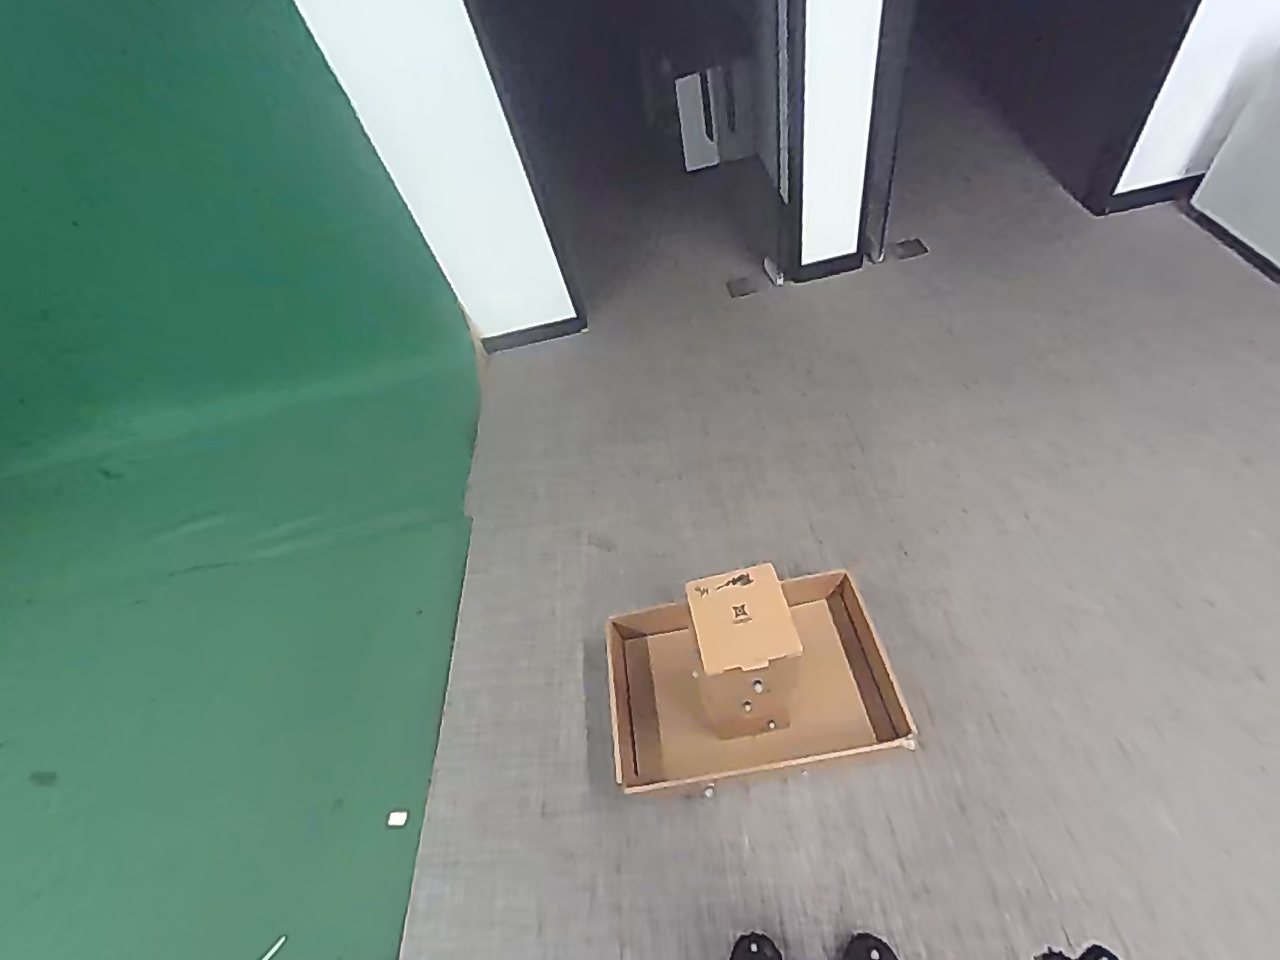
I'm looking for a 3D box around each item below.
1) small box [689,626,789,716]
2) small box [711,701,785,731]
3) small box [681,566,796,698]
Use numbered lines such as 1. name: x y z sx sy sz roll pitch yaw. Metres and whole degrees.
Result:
1. small box: 0.208 0.386 1.145 0.179 0.176 0.168 -12 50 6
2. small box: 0.237 0.472 1.262 0.168 0.176 0.179 -12 49 4
3. small box: 0.187 0.292 1.015 0.168 0.176 0.179 -16 50 3
